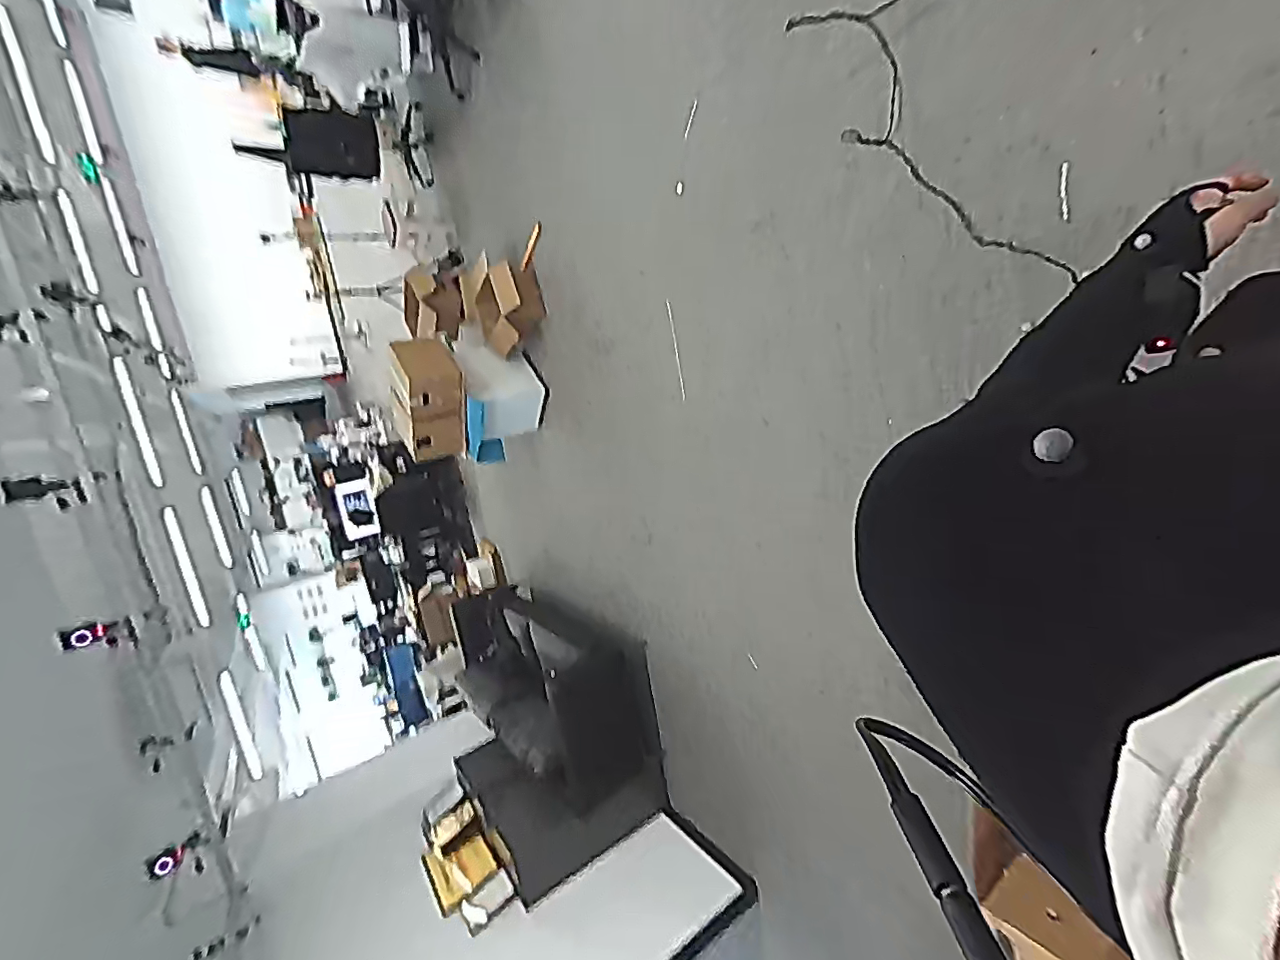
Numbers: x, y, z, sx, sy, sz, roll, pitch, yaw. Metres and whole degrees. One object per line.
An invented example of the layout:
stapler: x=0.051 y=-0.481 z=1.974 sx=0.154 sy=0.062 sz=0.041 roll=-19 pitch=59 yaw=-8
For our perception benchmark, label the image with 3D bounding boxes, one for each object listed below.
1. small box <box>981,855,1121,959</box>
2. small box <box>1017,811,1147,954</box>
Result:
small box: x=0.805 y=0.890 z=1.064 sx=0.179 sy=0.176 sz=0.168 roll=7 pitch=110 yaw=54
small box: x=0.938 y=0.852 z=1.155 sx=0.179 sy=0.176 sz=0.168 roll=10 pitch=112 yaw=53
